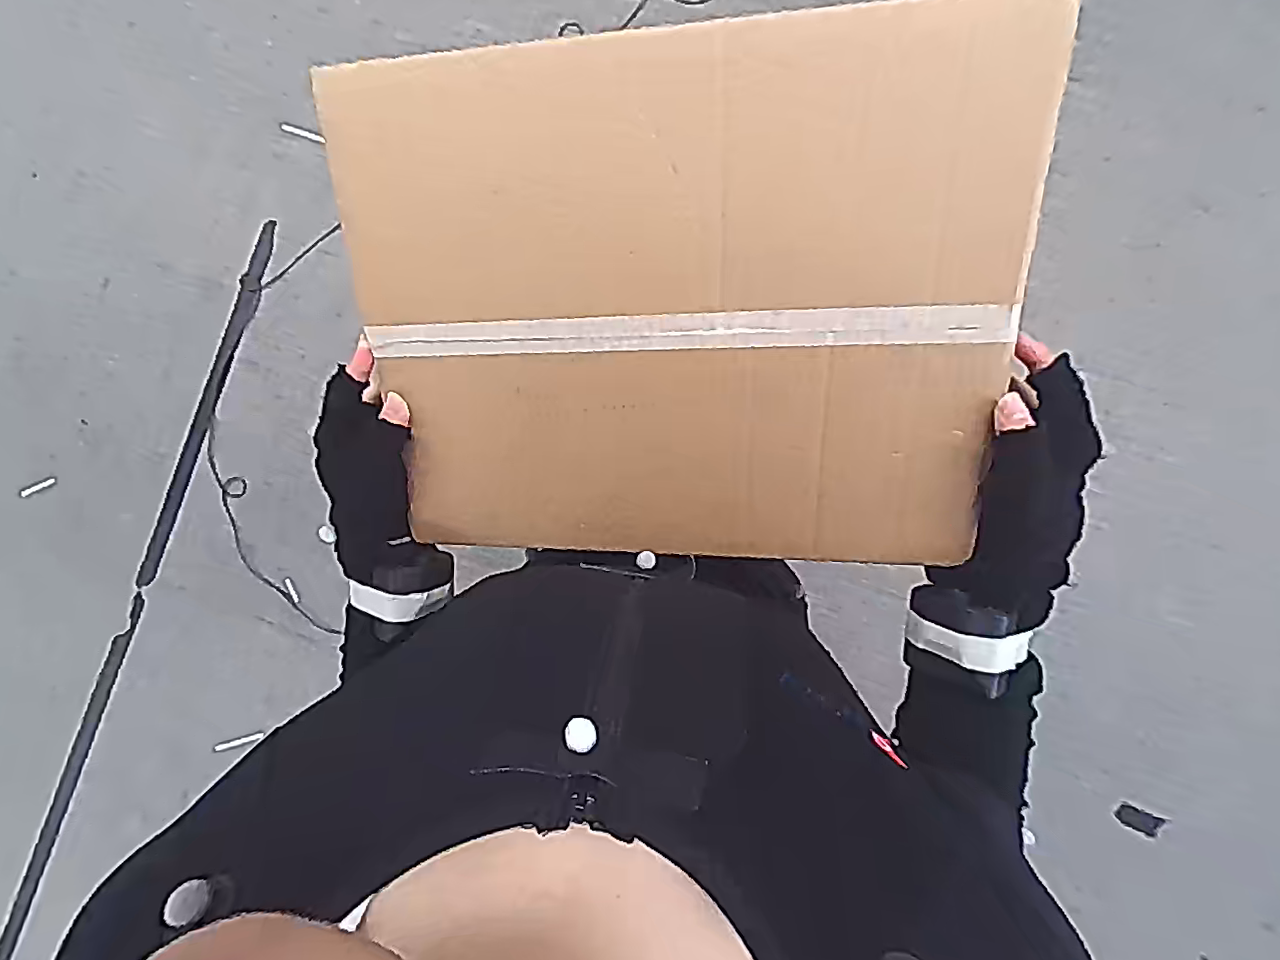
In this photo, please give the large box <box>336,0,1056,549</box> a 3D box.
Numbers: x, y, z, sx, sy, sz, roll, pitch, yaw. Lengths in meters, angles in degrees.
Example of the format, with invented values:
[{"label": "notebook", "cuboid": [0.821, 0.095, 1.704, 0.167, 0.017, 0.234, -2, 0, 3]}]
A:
[{"label": "large box", "cuboid": [0.038, -0.150, 0.484, 0.408, 0.320, 0.320, 1, 113, 10]}]
